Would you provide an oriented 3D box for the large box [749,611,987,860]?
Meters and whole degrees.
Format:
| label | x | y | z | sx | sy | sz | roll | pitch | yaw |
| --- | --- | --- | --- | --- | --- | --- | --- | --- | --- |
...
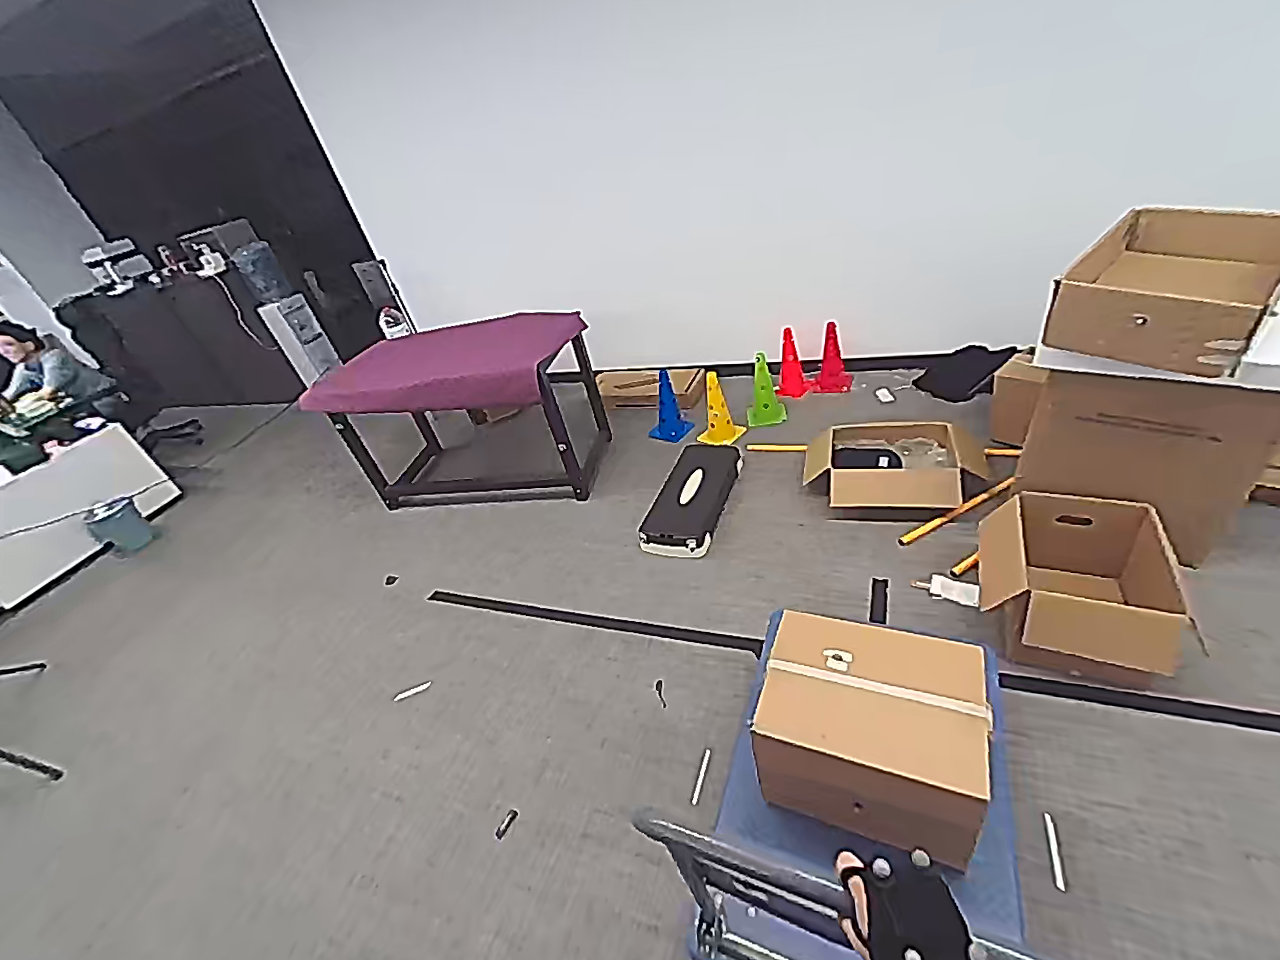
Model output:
| label | x | y | z | sx | sy | sz | roll | pitch | yaw |
| --- | --- | --- | --- | --- | --- | --- | --- | --- | --- |
| large box | 0.482 | 0.526 | 1.155 | 0.408 | 0.320 | 0.320 | 4 | 38 | 27 |
